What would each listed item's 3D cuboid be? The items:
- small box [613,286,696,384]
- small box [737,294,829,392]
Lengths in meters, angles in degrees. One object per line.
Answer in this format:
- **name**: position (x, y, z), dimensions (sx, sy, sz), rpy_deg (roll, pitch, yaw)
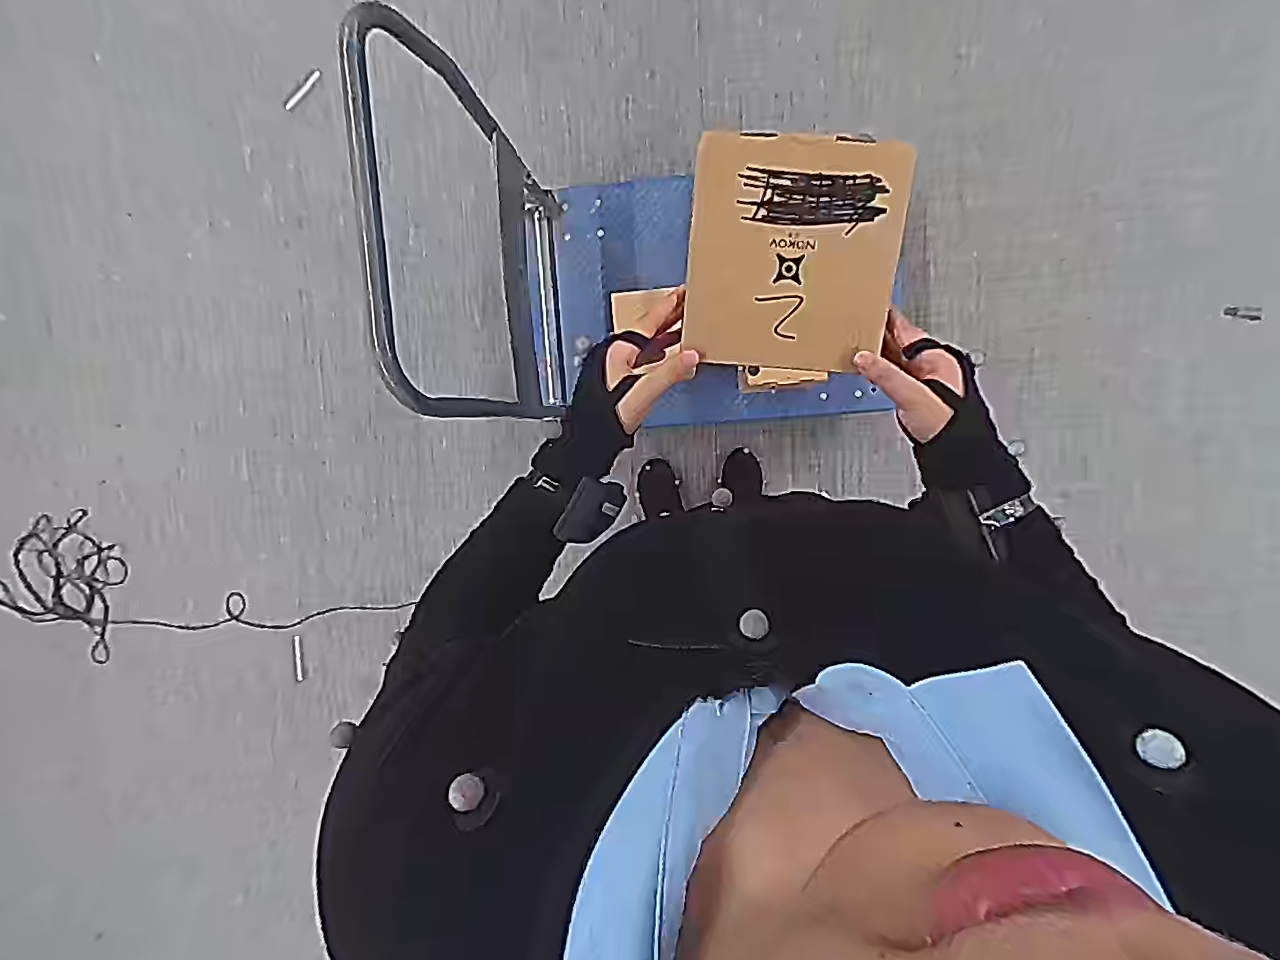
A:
- **small box**: position (0.035, -0.316, 1.205), dimensions (0.168, 0.176, 0.179), rpy_deg (-4, 95, 5)
- **small box**: position (0.307, -0.294, 1.189), dimensions (0.168, 0.176, 0.179), rpy_deg (-4, 94, 5)
